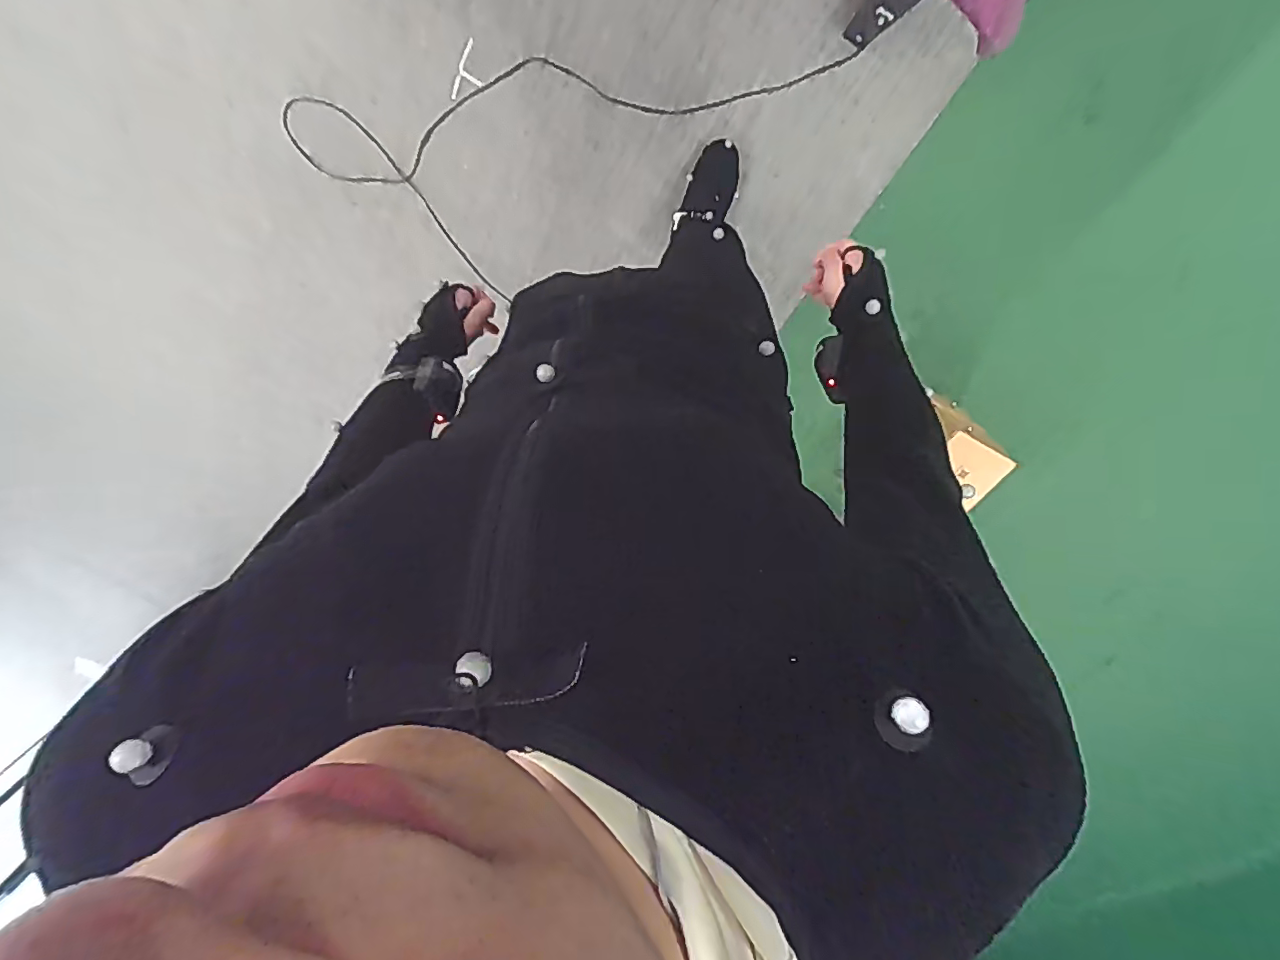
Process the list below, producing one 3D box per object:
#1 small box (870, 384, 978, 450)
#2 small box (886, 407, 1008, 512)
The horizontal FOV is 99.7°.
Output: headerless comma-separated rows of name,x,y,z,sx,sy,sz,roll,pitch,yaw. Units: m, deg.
small box,0.770,-0.145,1.491,0.179,0.176,0.168,27,120,-9
small box,0.758,-0.058,1.354,0.179,0.176,0.168,27,120,-8
